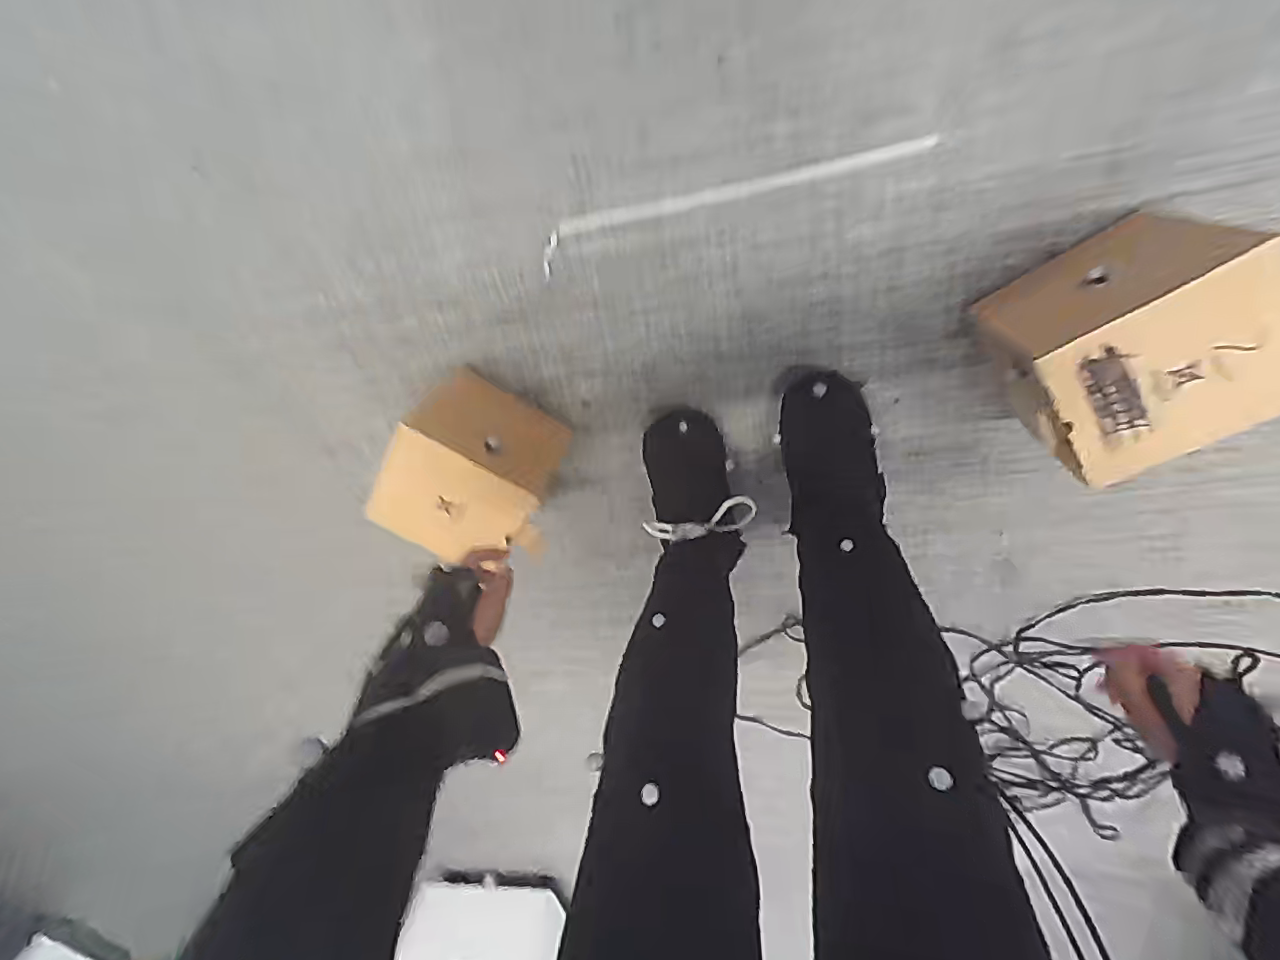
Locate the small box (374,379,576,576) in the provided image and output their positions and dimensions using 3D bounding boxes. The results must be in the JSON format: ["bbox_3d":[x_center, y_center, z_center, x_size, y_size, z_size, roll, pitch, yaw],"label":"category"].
[{"bbox_3d":[-0.211,-0.013,0.723,0.179,0.176,0.168,31,122,-13],"label":"small box"}]
